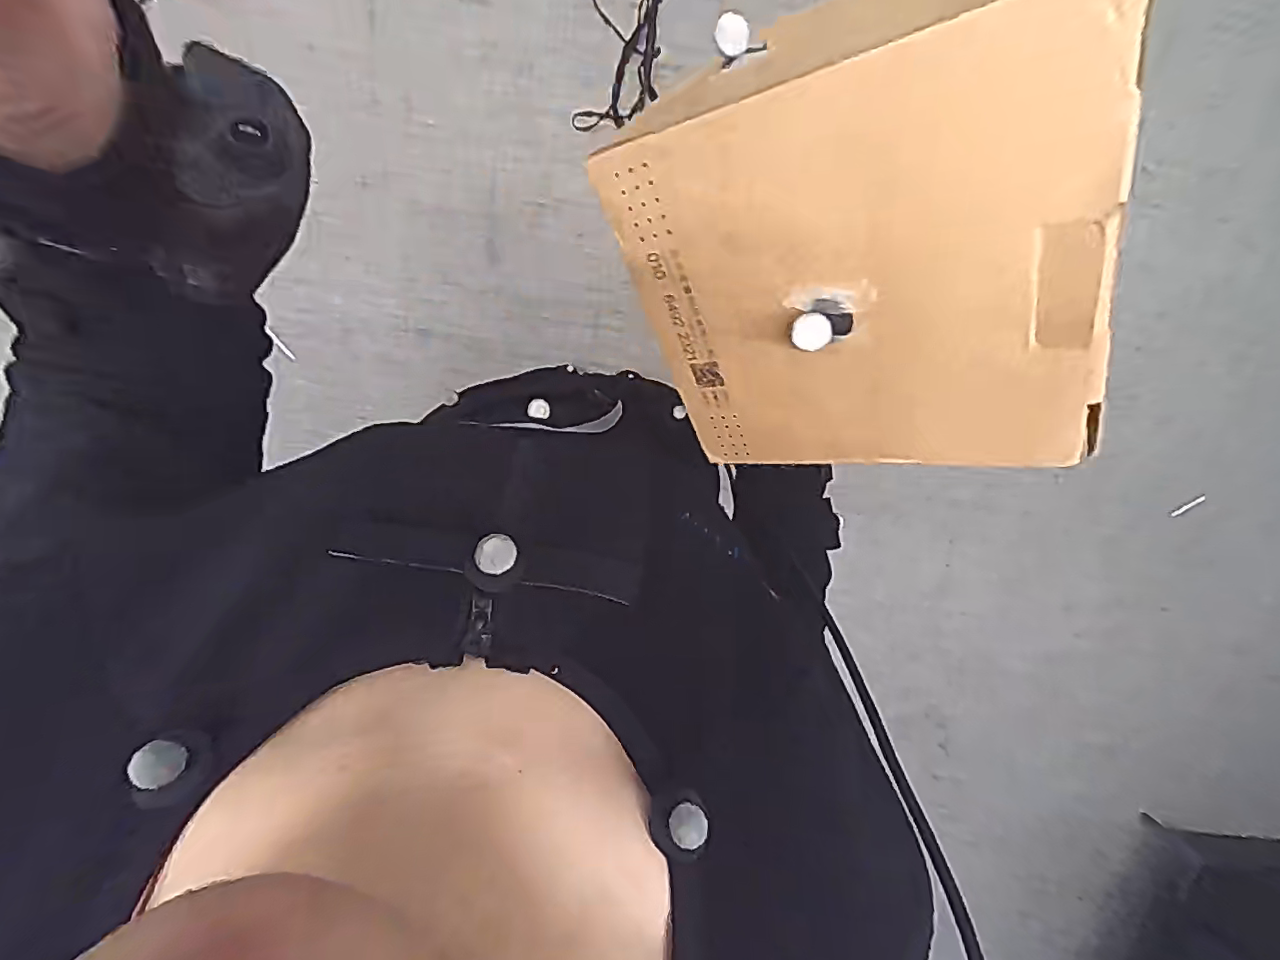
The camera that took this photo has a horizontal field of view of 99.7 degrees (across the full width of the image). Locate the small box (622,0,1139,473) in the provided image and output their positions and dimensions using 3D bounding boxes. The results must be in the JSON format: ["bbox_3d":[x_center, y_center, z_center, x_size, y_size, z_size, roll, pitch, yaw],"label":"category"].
[{"bbox_3d":[0.111,-0.119,0.264,0.176,0.179,0.168,2,136,34],"label":"small box"}]
